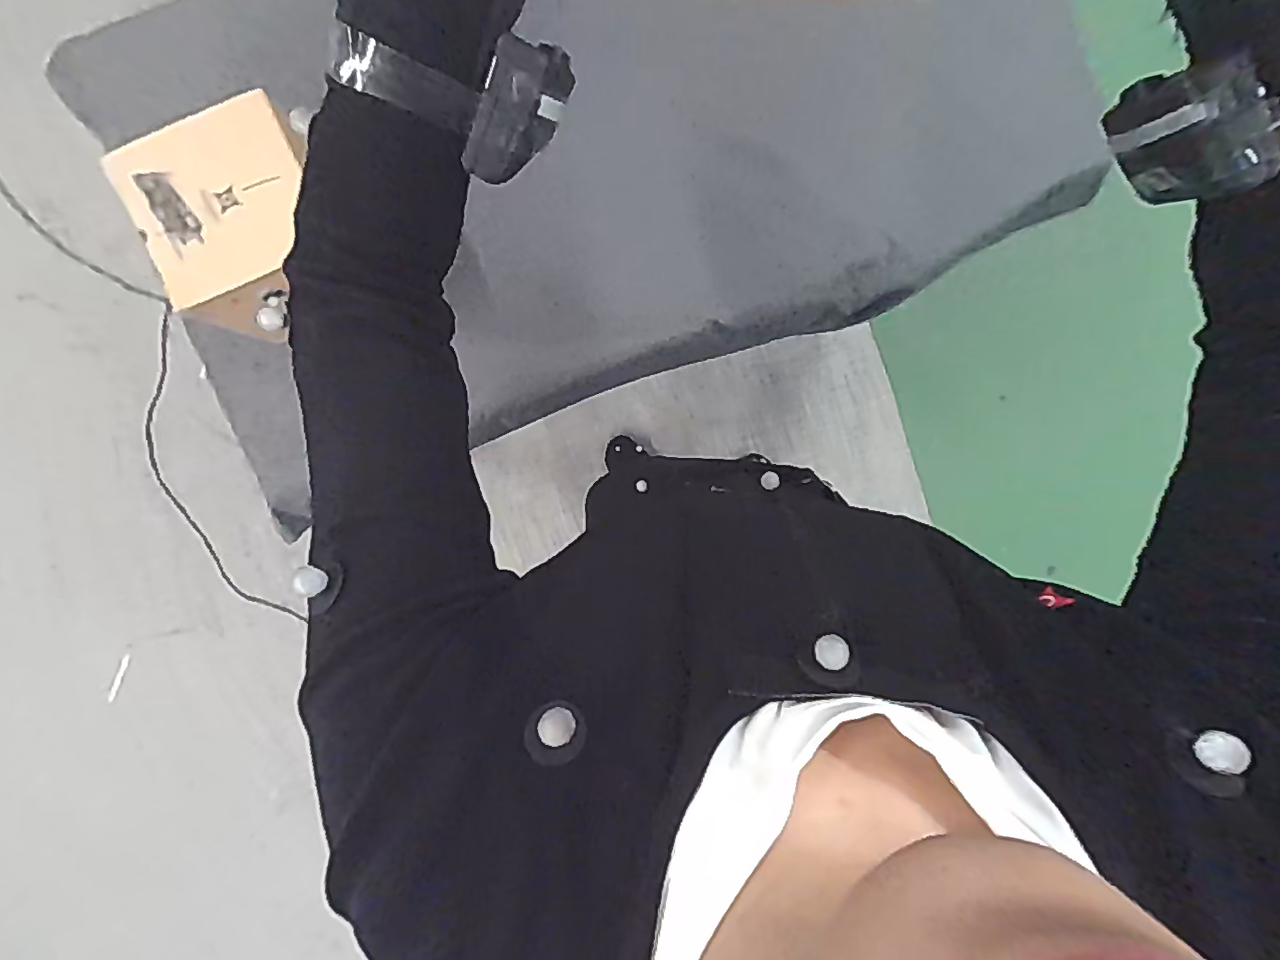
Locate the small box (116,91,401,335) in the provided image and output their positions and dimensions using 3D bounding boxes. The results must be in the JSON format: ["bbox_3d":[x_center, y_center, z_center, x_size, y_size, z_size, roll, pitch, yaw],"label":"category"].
[{"bbox_3d":[-0.415,-0.285,0.622,0.179,0.176,0.168,-24,95,-1],"label":"small box"}]
